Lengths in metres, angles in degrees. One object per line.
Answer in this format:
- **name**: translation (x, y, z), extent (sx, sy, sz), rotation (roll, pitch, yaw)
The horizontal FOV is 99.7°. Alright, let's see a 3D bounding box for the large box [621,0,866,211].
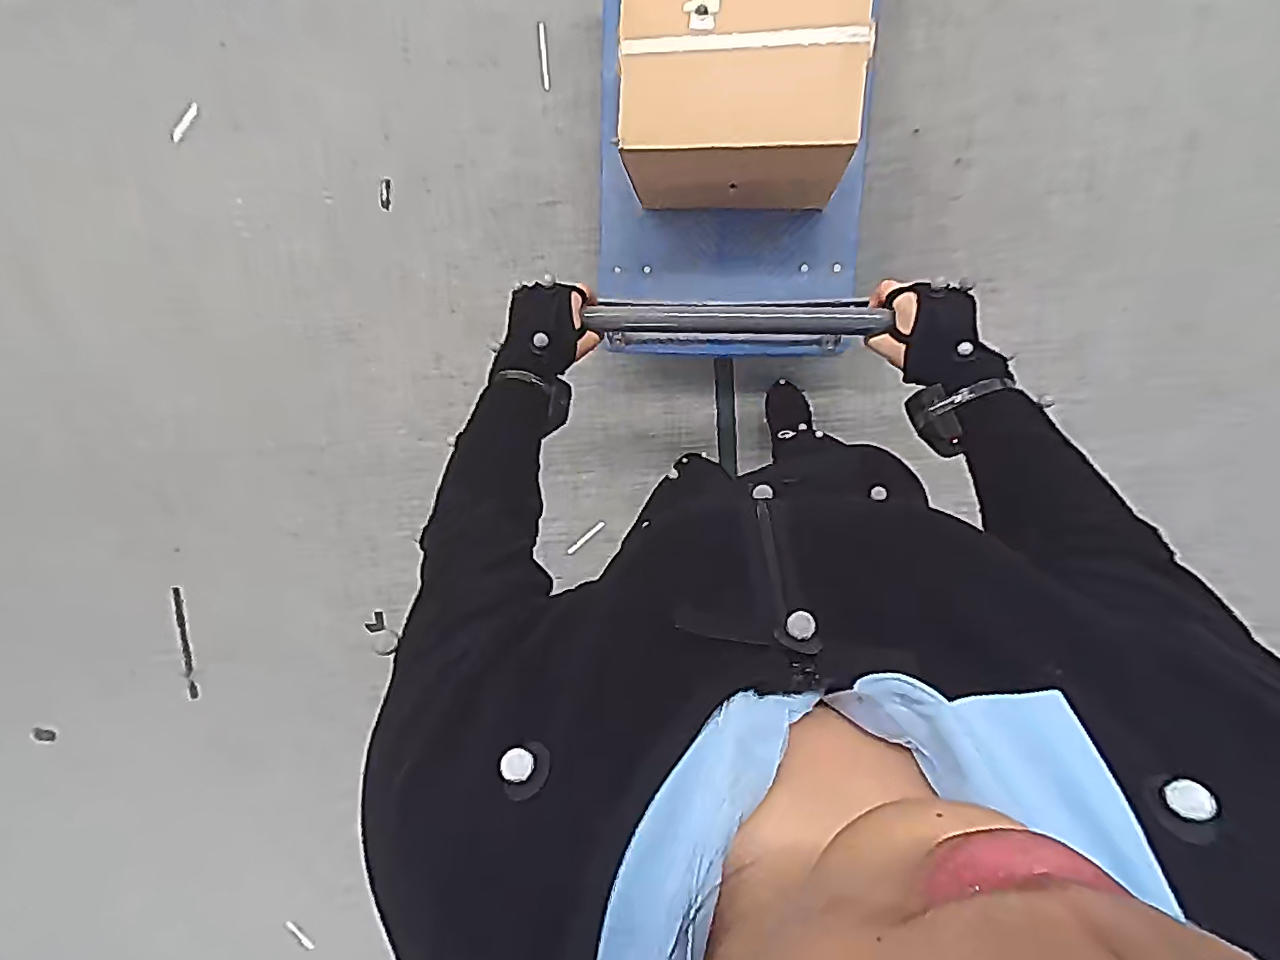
- **large box**: translation (0.191, -0.737, 1.048), extent (0.408, 0.320, 0.320), rotation (3, 98, 9)
